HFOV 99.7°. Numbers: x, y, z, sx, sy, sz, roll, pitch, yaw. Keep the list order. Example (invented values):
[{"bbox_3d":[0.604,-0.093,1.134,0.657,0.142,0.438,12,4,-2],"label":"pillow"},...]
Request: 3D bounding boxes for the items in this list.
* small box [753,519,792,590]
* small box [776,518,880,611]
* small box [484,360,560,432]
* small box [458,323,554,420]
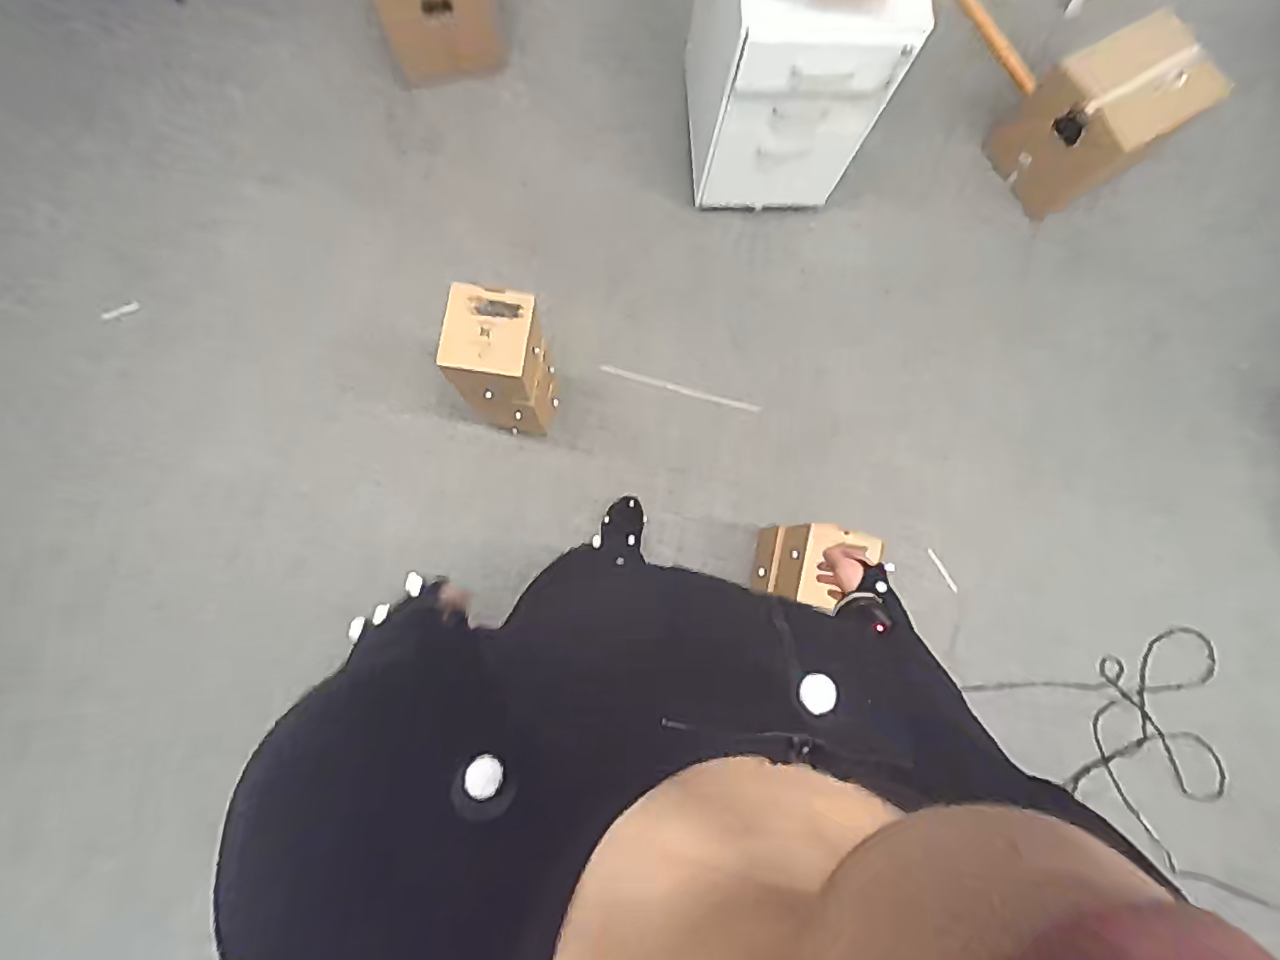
[{"bbox_3d":[0.407,0.208,1.429,0.168,0.176,0.179,12,82,-2],"label":"small box"},{"bbox_3d":[0.432,0.195,1.267,0.168,0.176,0.179,14,83,-1],"label":"small box"},{"bbox_3d":[-0.319,-0.238,1.457,0.179,0.176,0.168,13,81,-2],"label":"small box"},{"bbox_3d":[-0.310,-0.251,1.295,0.179,0.176,0.168,10,80,0],"label":"small box"}]
